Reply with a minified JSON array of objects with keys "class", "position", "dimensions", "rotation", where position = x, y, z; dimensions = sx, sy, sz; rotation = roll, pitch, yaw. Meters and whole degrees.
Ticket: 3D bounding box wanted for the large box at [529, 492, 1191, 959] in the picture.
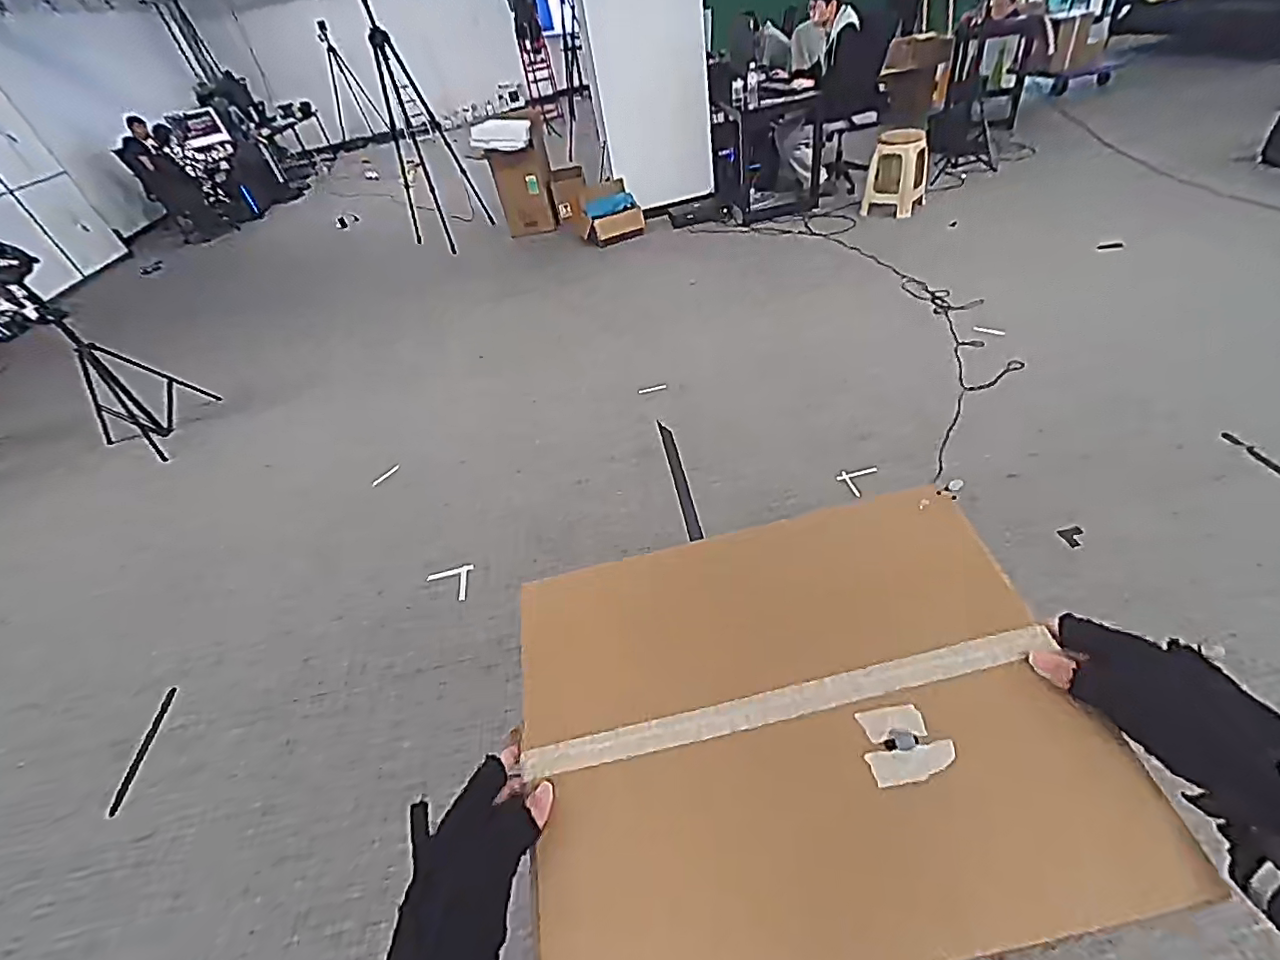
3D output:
[{"class":"large box","position":[0.137,0.267,0.533],"dimensions":[0.408,0.320,0.320],"rotation":[-14,51,0]}]
